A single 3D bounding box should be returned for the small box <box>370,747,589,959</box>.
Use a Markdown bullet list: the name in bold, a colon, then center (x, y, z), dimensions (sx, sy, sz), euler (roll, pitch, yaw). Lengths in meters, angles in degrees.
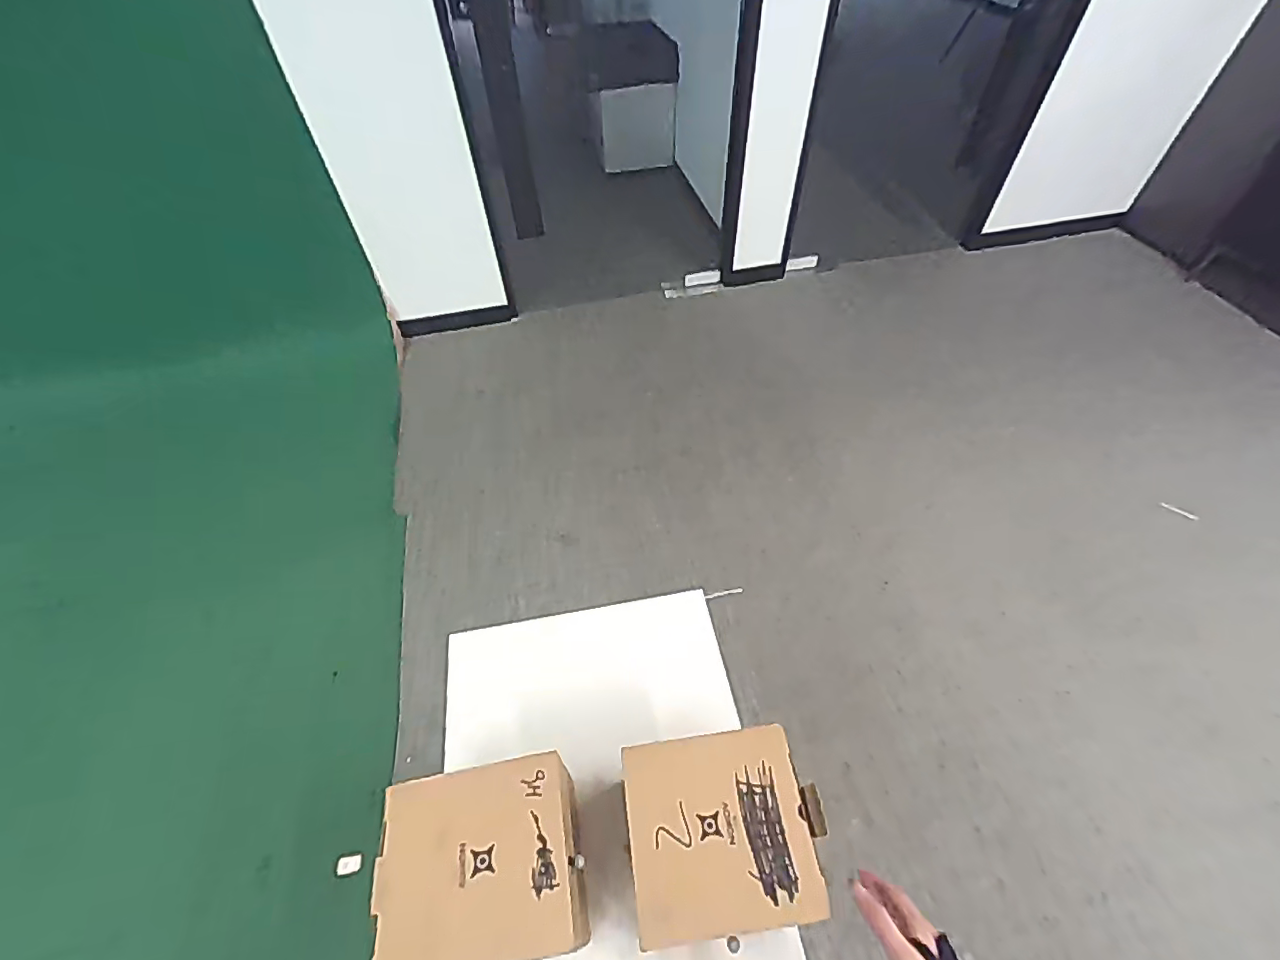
- **small box**: center (-0.156, 0.406, 0.572), dimensions (0.179, 0.176, 0.168), euler (-9, 51, -6)
